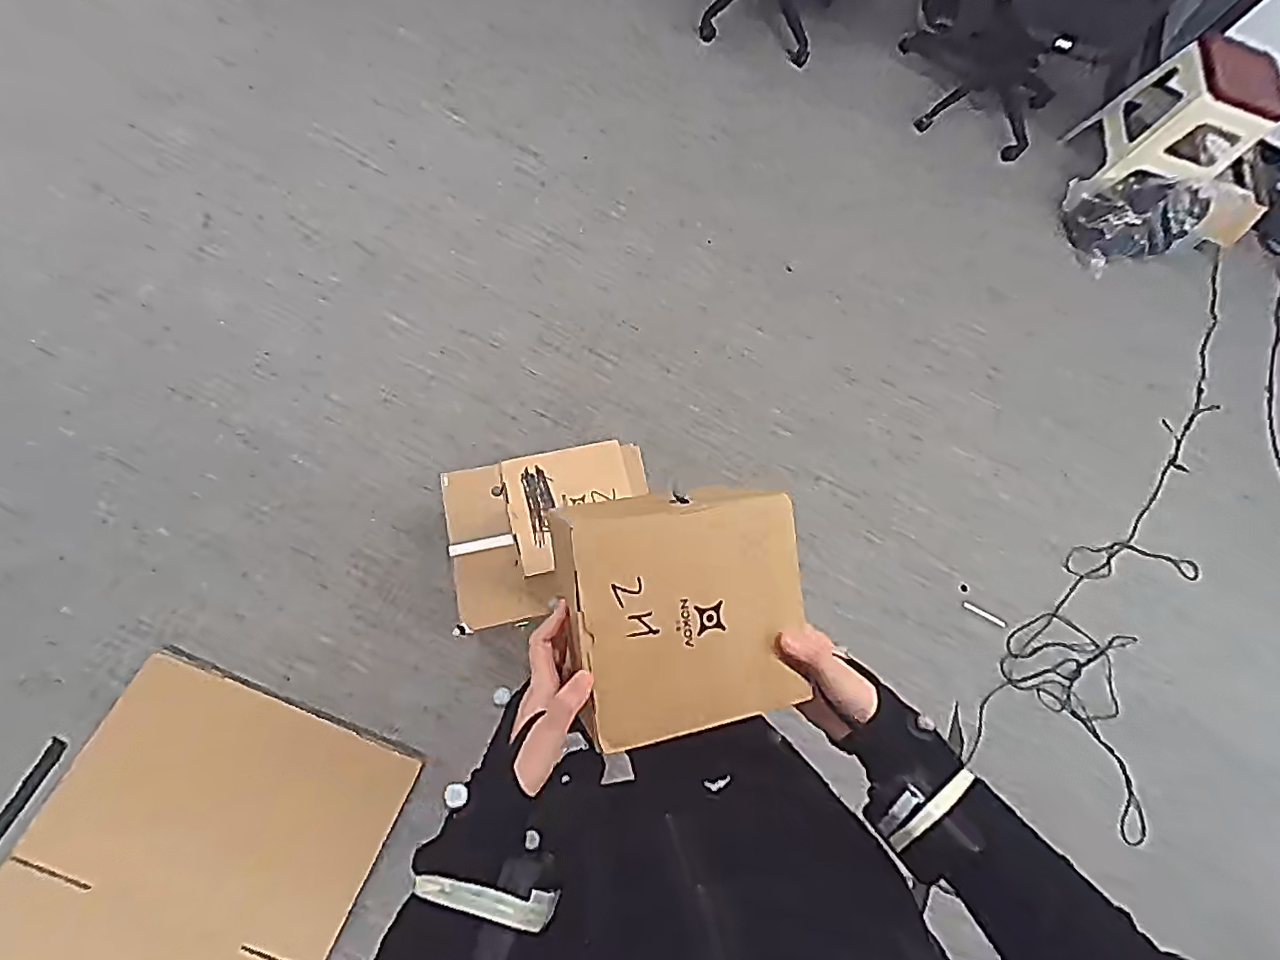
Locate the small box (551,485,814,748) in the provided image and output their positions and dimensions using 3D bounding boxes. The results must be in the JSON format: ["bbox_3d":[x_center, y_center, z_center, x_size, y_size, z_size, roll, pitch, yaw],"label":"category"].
[{"bbox_3d":[0.026,0.097,0.477,0.179,0.176,0.168,-8,93,-15],"label":"small box"}]

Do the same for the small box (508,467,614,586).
[{"bbox_3d":[-0.136,0.091,0.986,0.179,0.176,0.168,-13,79,-16],"label":"small box"}]
